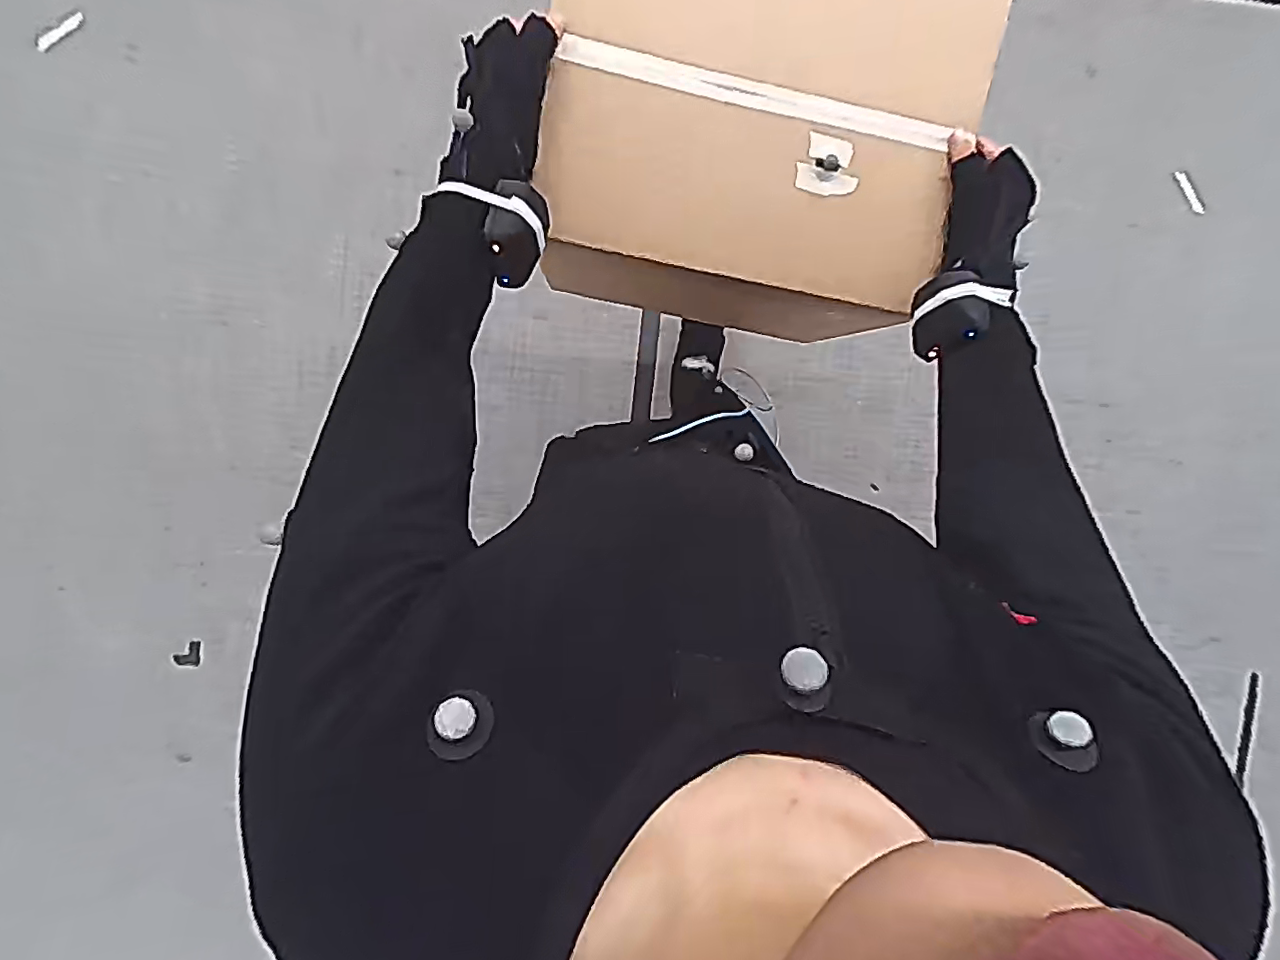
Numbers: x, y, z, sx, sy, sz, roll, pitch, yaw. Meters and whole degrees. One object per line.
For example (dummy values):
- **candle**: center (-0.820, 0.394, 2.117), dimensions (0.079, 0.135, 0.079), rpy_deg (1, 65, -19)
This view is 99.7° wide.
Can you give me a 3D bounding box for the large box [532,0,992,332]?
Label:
- **large box**: center (0.102, -0.382, 0.651), dimensions (0.408, 0.320, 0.320), rpy_deg (9, 99, -6)
